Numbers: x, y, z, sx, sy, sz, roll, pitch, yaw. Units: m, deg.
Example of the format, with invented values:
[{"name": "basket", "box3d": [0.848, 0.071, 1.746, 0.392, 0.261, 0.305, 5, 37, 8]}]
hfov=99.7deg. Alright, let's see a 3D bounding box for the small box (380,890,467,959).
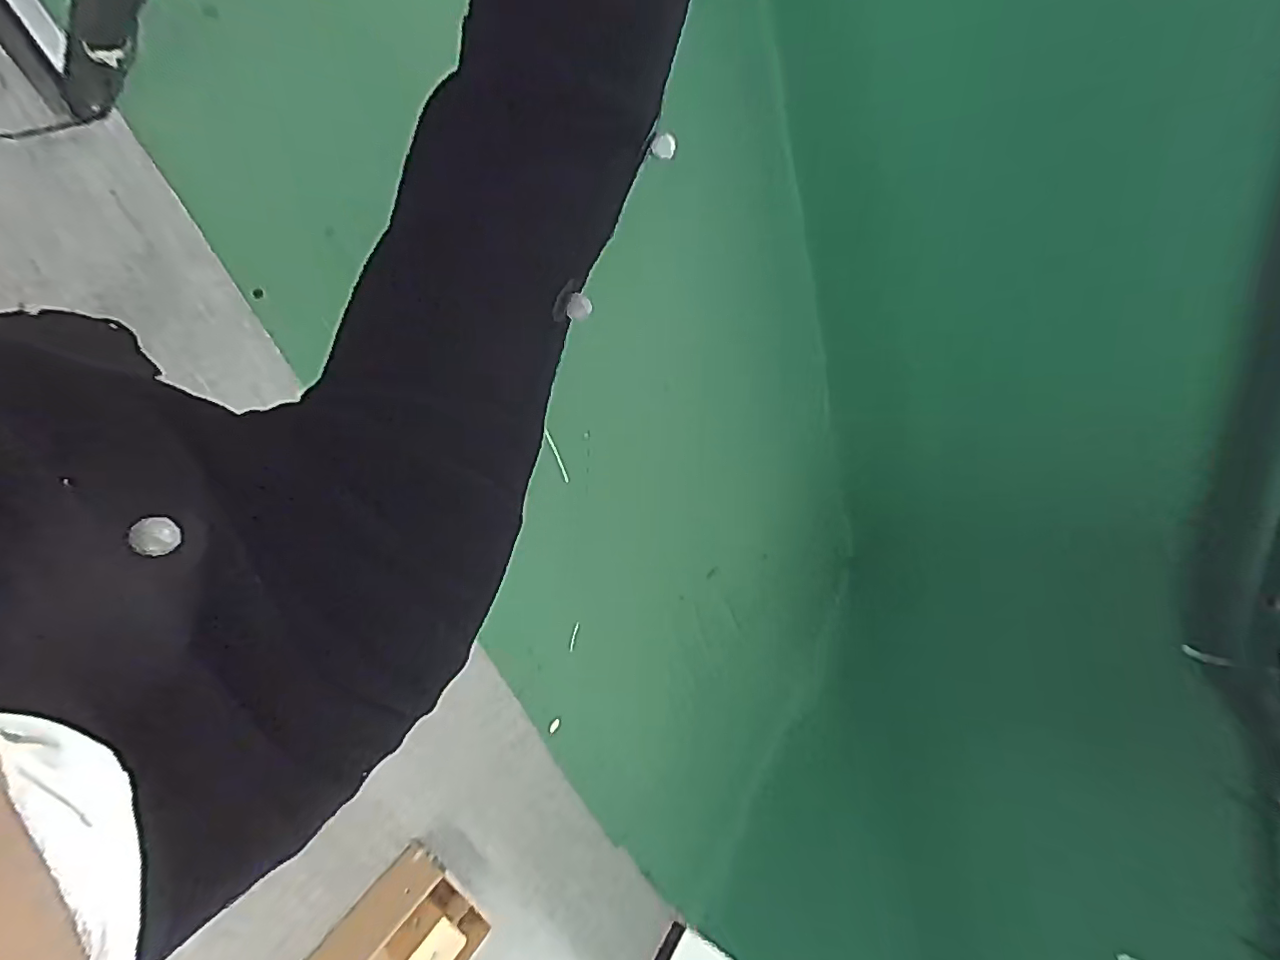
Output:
[{"name": "small box", "box3d": [-0.704, 1.480, 1.750, 0.168, 0.176, 0.179, -43, 126, -37]}]
